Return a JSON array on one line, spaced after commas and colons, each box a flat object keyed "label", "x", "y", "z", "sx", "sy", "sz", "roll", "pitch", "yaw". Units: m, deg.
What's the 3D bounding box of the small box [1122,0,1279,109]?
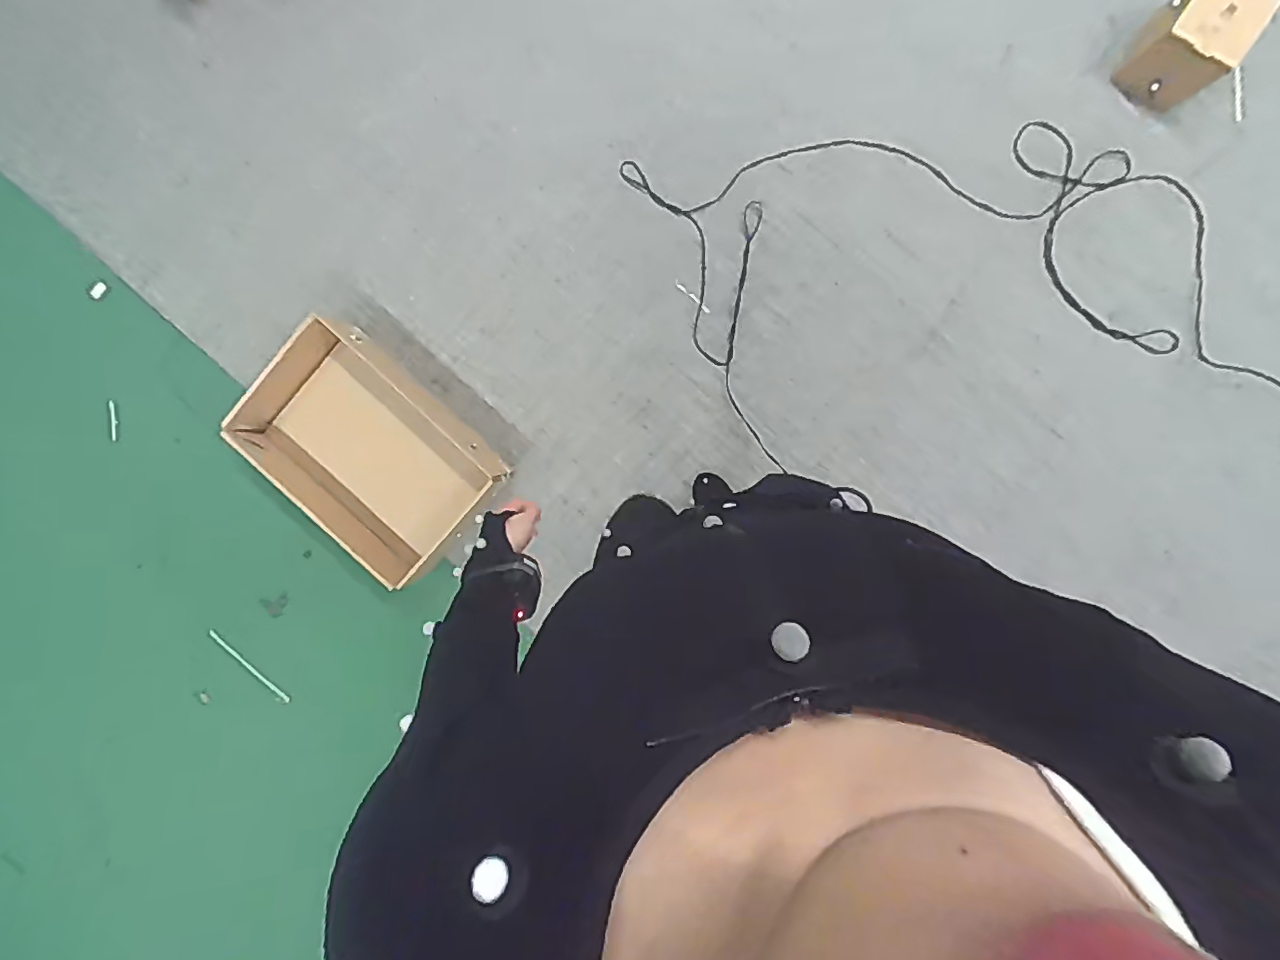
[{"label": "small box", "x": 1.271, "y": -1.008, "z": 1.231, "sx": 0.168, "sy": 0.176, "sz": 0.179, "roll": 32, "pitch": 96, "yaw": 2}]

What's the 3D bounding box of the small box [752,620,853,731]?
[{"label": "small box", "x": 0.406, "y": 0.493, "z": 1.391, "sx": 0.168, "sy": 0.176, "sz": 0.179, "roll": 42, "pitch": 95, "yaw": 1}]
